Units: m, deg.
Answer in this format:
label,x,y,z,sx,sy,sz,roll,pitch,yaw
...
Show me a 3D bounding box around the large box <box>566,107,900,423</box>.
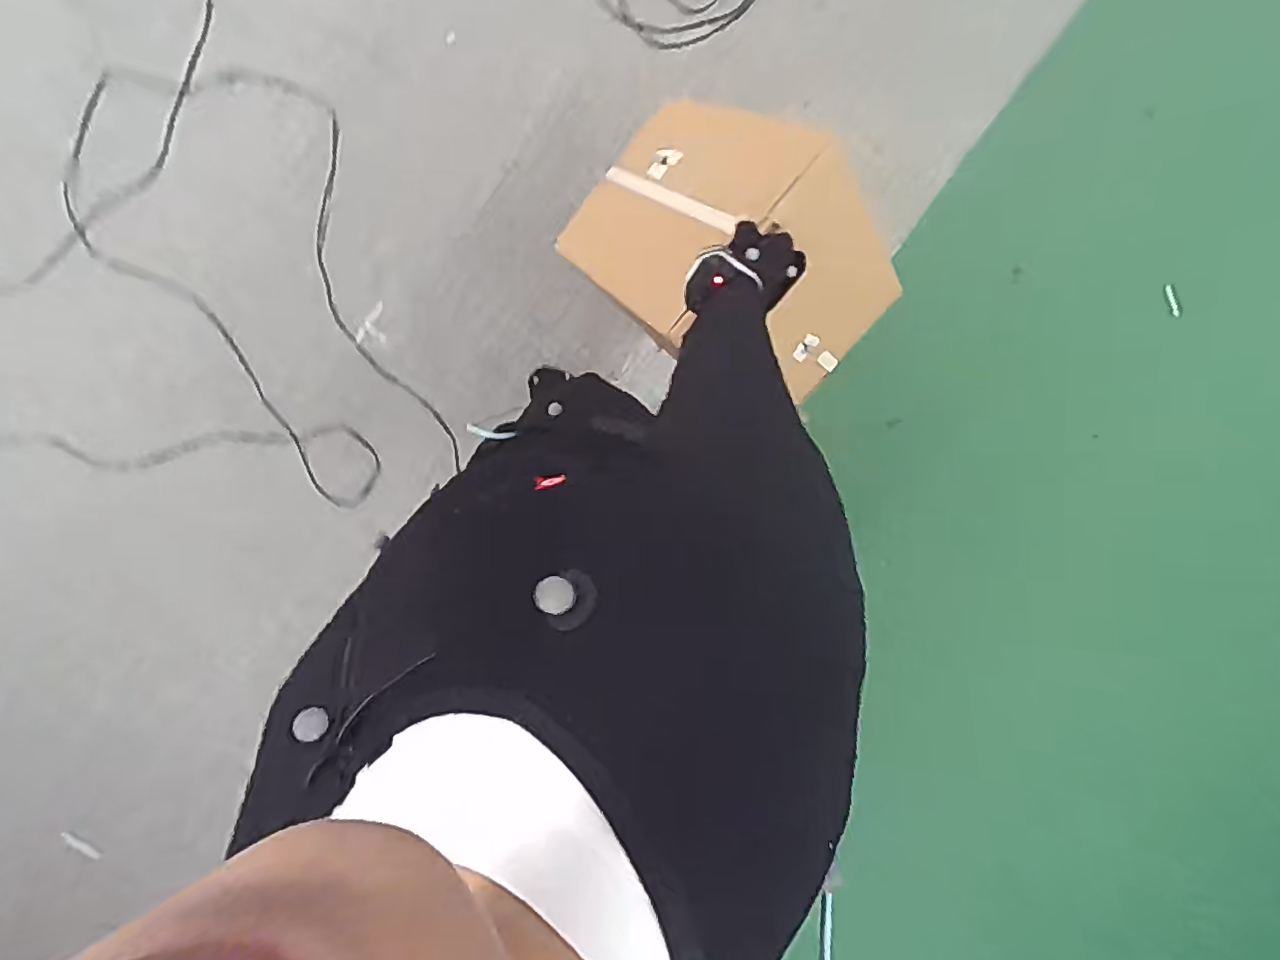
label,x,y,z,sx,sy,sz,roll,pitch,yaw
large box,0.145,-0.364,0.922,0.320,0.408,0.320,-48,136,10
